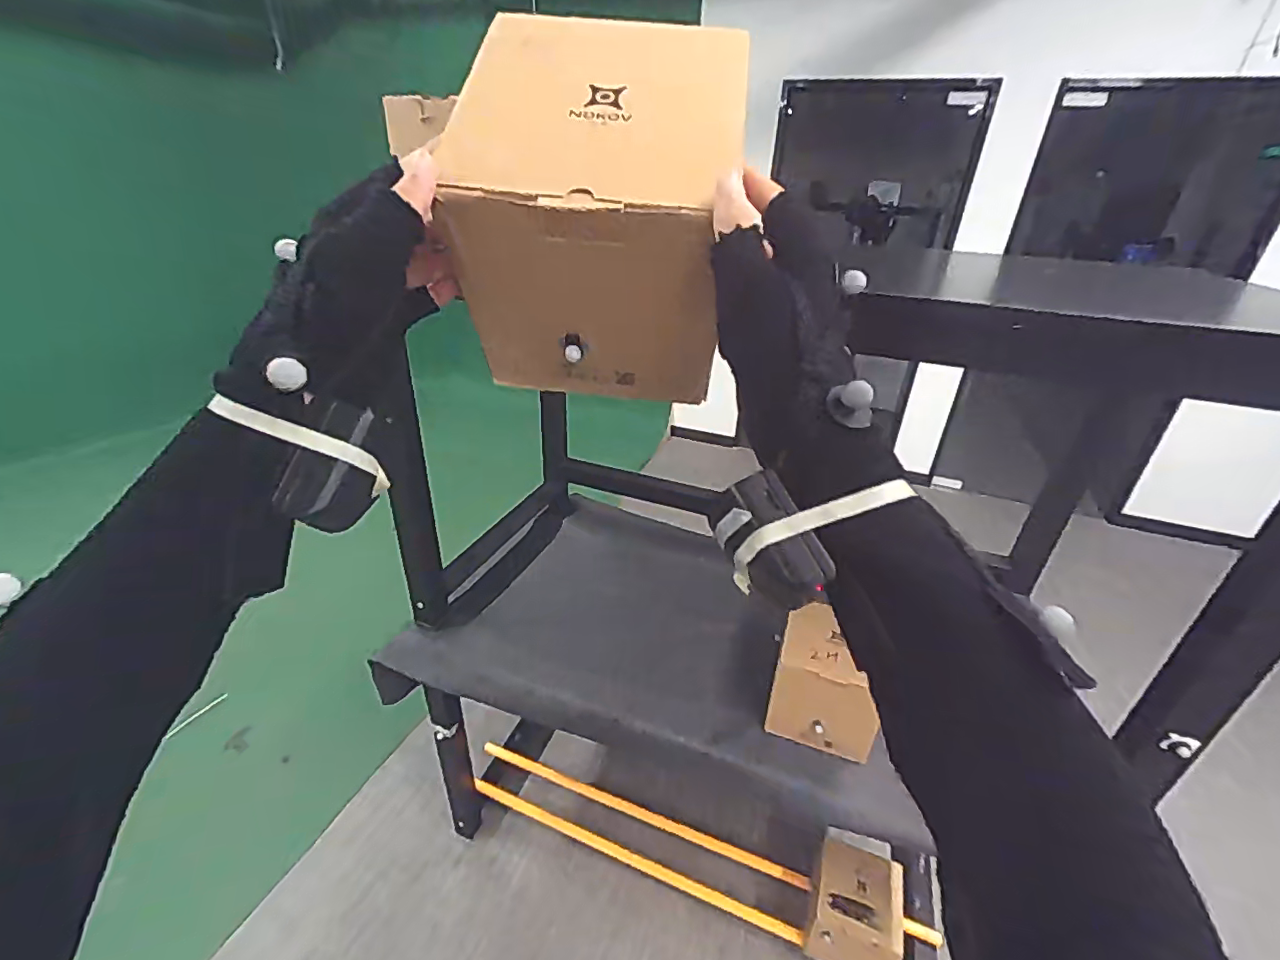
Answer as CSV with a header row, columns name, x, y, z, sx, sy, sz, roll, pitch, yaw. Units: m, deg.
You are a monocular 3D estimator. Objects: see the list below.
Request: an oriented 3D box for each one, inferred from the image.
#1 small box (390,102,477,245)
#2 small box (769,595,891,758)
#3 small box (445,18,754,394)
name,x,y,z,sx,sy,sz,roll,pitch,yaw
small box,-0.228,-0.442,0.796,0.168,0.176,0.179,12,28,16
small box,0.327,0.335,0.939,0.168,0.176,0.179,12,28,18
small box,-0.016,-0.188,0.392,0.168,0.176,0.179,5,63,3
